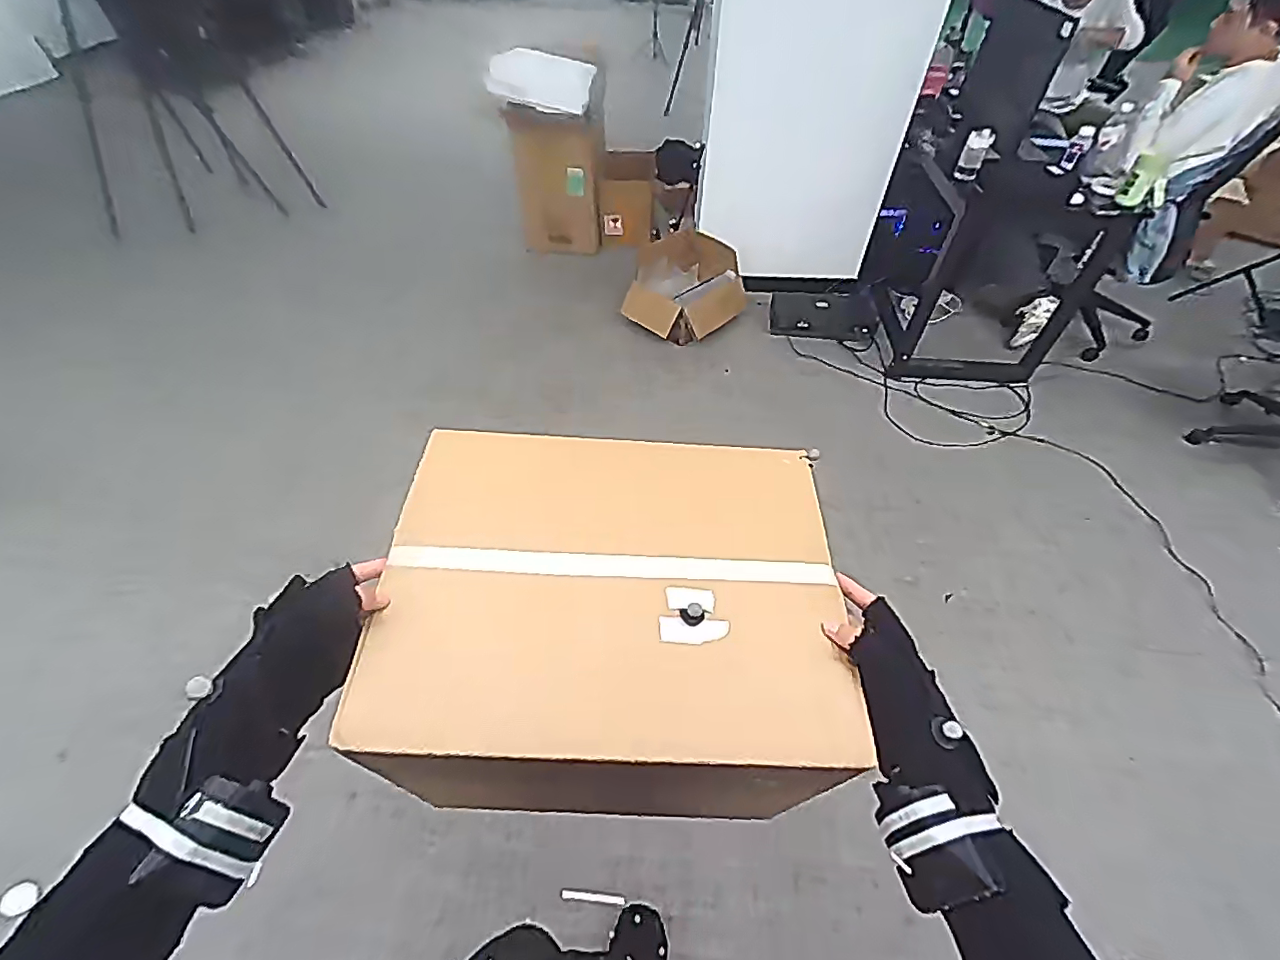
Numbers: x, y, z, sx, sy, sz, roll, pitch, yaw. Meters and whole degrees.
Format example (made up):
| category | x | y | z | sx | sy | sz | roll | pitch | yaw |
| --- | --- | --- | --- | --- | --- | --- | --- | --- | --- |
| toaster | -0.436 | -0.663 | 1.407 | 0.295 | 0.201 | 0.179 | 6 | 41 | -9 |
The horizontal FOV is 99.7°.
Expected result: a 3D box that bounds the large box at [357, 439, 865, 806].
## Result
| category | x | y | z | sx | sy | sz | roll | pitch | yaw |
| --- | --- | --- | --- | --- | --- | --- | --- | --- | --- |
| large box | -0.029 | 0.175 | 0.623 | 0.408 | 0.320 | 0.320 | 3 | 52 | -3 |
